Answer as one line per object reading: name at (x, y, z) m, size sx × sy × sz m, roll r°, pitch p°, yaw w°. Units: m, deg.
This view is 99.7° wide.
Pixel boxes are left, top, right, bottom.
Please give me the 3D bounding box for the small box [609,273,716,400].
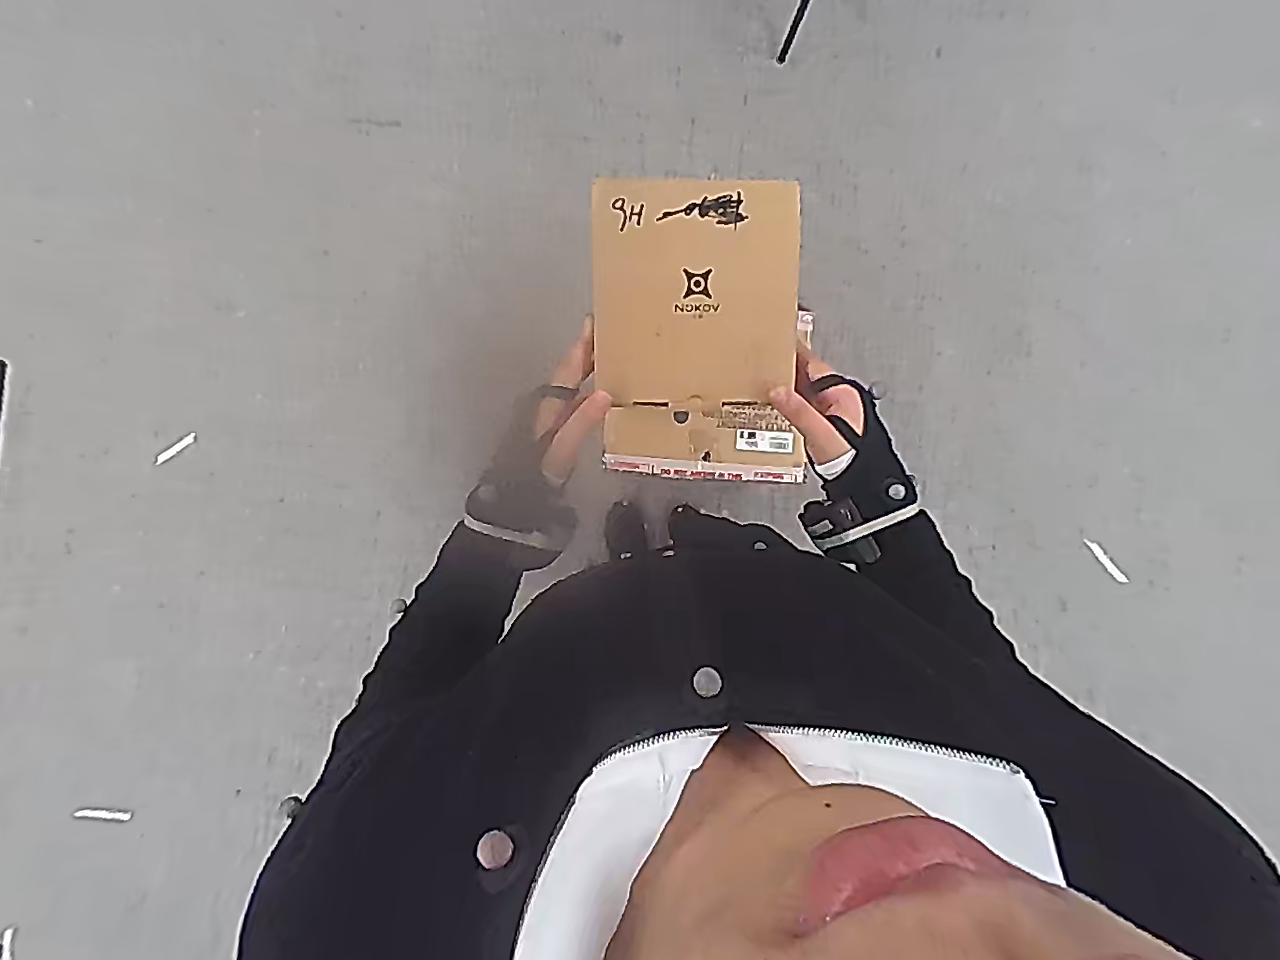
small box at (0.038, -0.242, 0.944) m, size 0.168 × 0.176 × 0.179 m, roll 3°, pitch 91°, yaw 3°
